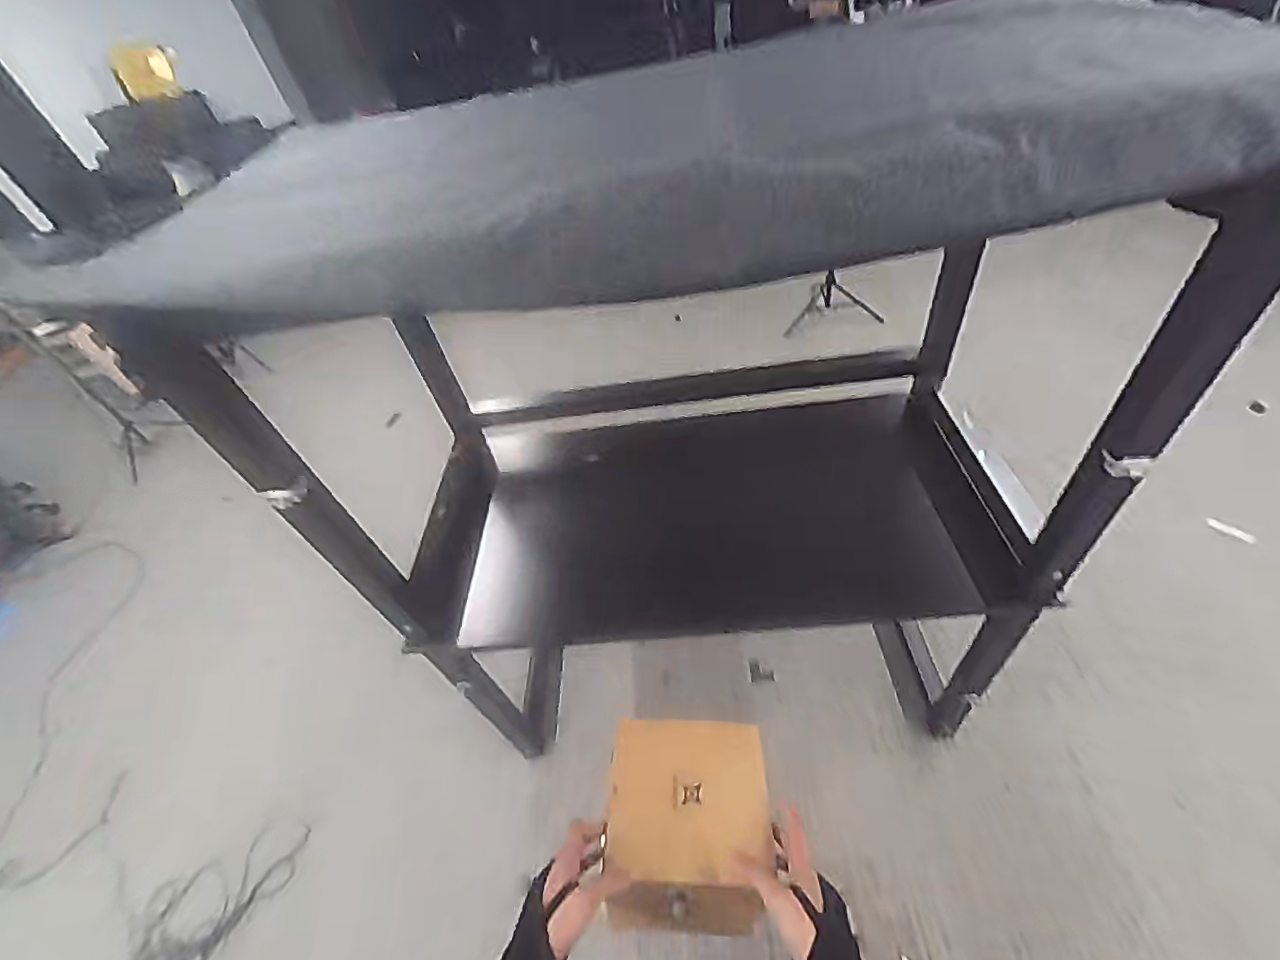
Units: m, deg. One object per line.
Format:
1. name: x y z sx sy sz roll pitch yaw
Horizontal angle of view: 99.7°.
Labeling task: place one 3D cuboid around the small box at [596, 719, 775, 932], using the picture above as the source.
1. small box: 0.049 0.403 0.634 0.179 0.176 0.168 0 38 3
